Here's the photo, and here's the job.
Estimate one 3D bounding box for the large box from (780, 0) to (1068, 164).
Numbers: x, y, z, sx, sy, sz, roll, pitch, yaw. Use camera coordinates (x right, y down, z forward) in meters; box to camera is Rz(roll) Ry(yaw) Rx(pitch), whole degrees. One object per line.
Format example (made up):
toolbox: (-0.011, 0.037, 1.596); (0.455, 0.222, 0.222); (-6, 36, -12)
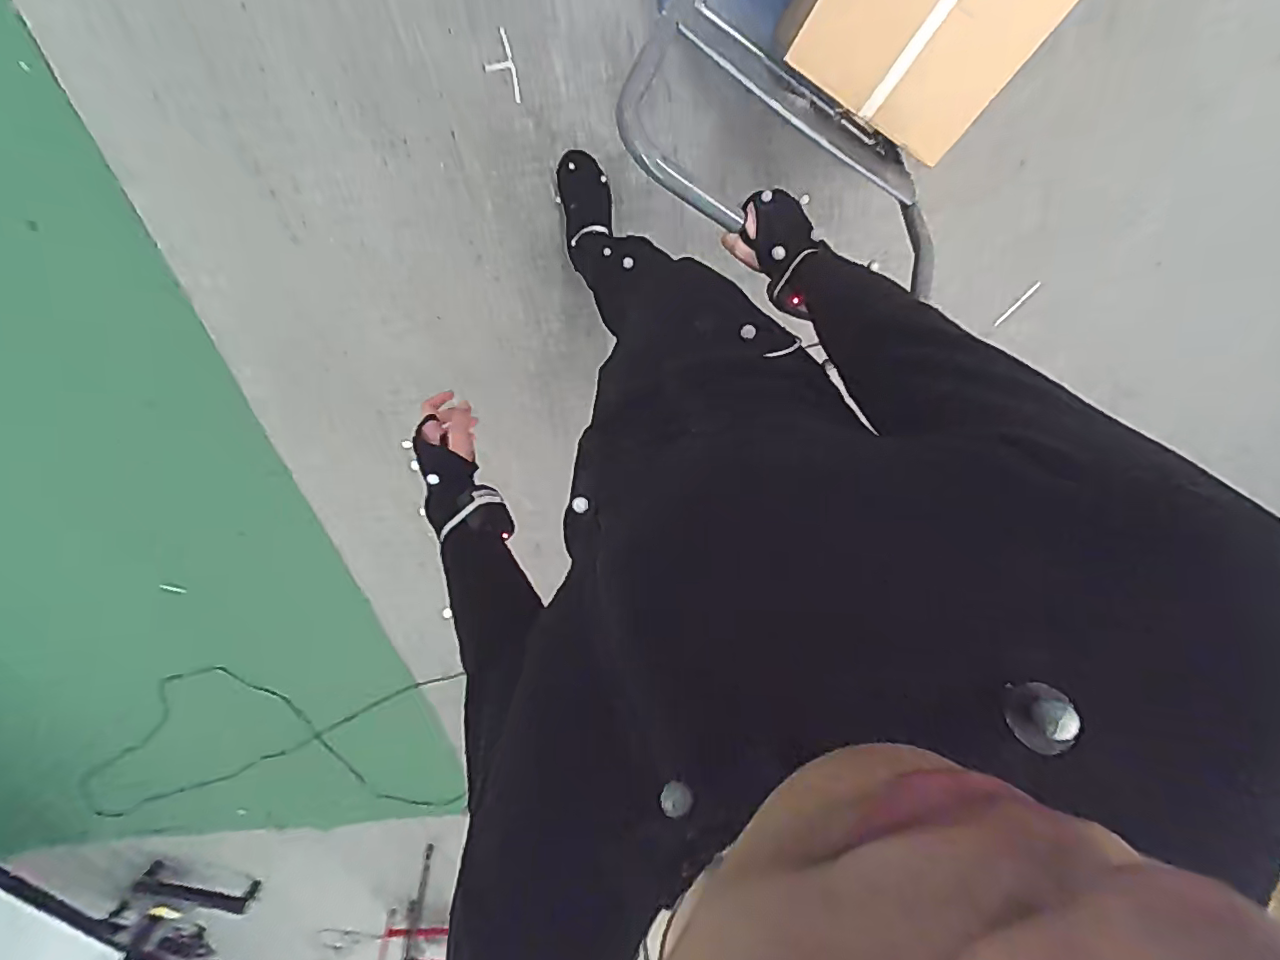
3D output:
large box: (0.463, -0.808, 0.842); (0.320, 0.320, 0.408); (25, 135, -15)
